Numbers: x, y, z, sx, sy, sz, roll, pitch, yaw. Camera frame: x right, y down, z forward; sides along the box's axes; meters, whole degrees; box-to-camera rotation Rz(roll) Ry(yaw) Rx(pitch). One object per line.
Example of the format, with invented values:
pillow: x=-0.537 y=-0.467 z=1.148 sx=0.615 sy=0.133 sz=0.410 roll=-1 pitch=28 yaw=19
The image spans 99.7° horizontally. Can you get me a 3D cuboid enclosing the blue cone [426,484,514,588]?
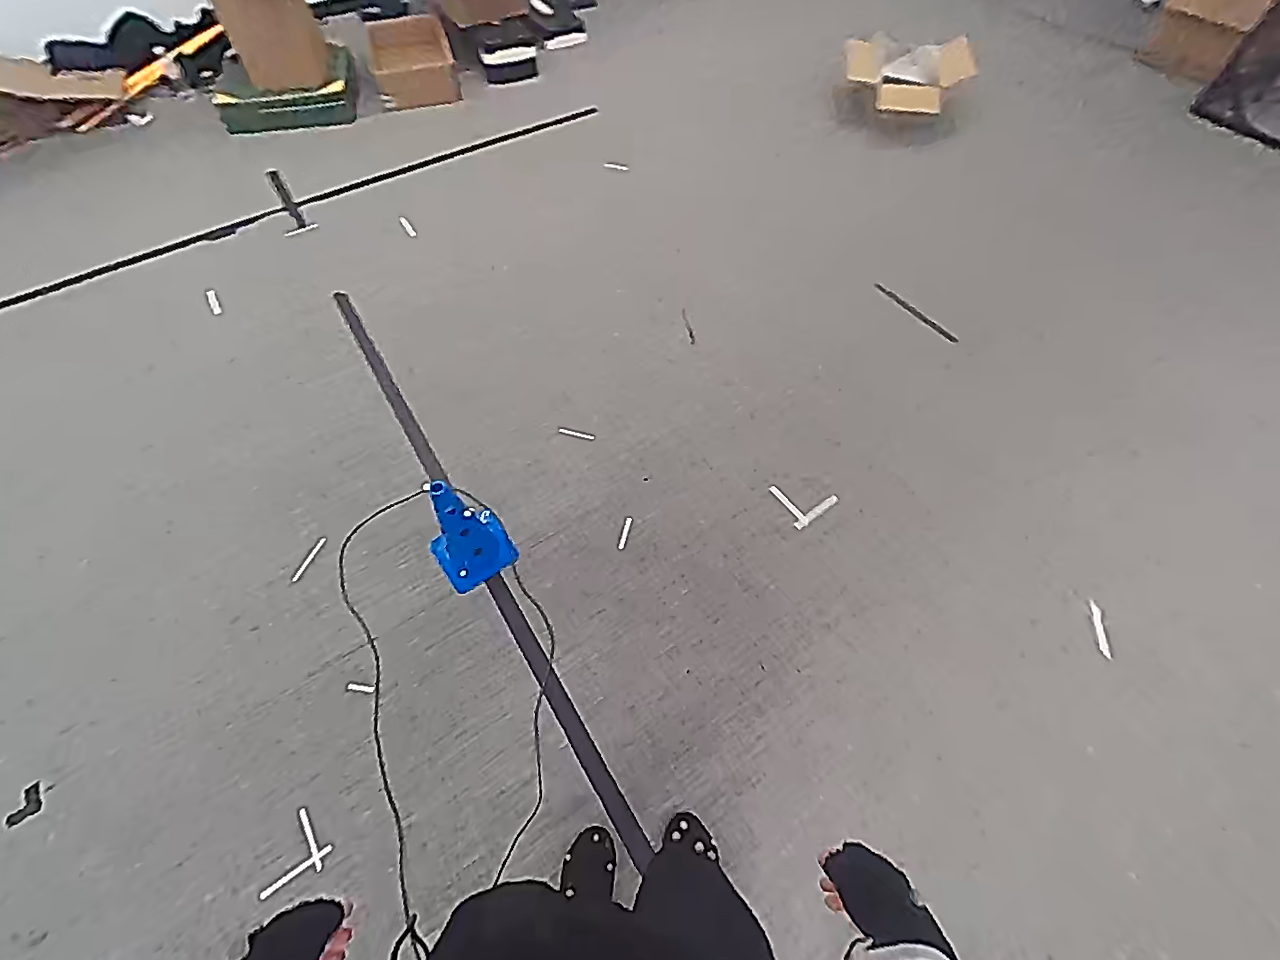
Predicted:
blue cone: x=-0.468 y=0.112 z=1.396 sx=0.192 sy=0.380 sz=0.193 roll=-34 pitch=66 yaw=-20
